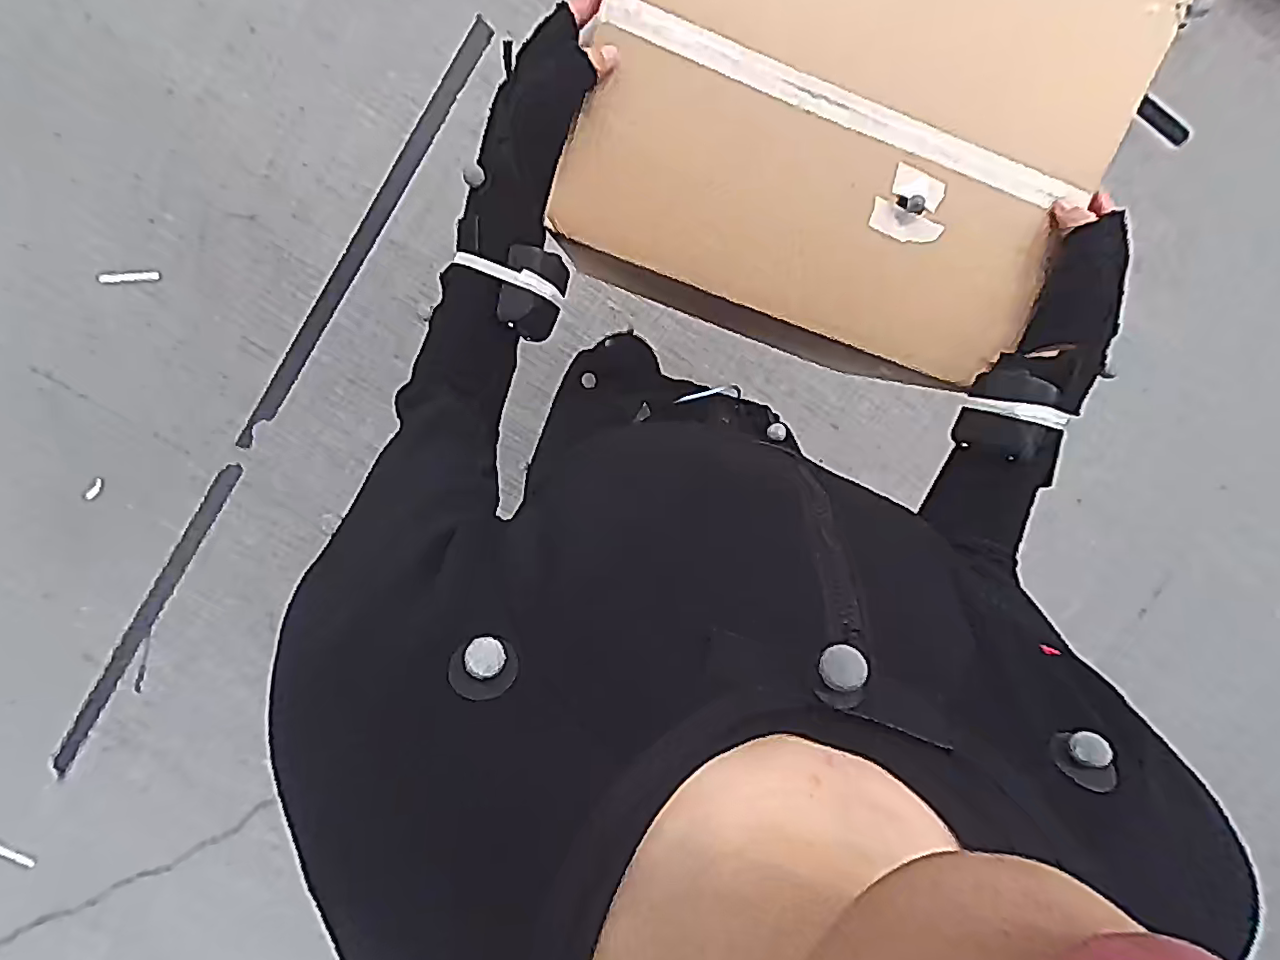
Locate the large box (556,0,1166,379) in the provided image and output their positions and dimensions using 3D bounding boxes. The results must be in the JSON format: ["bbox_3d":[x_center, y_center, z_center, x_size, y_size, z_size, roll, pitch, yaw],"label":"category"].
[{"bbox_3d":[0.158,-0.326,0.565,0.408,0.320,0.320,19,105,-7],"label":"large box"}]
